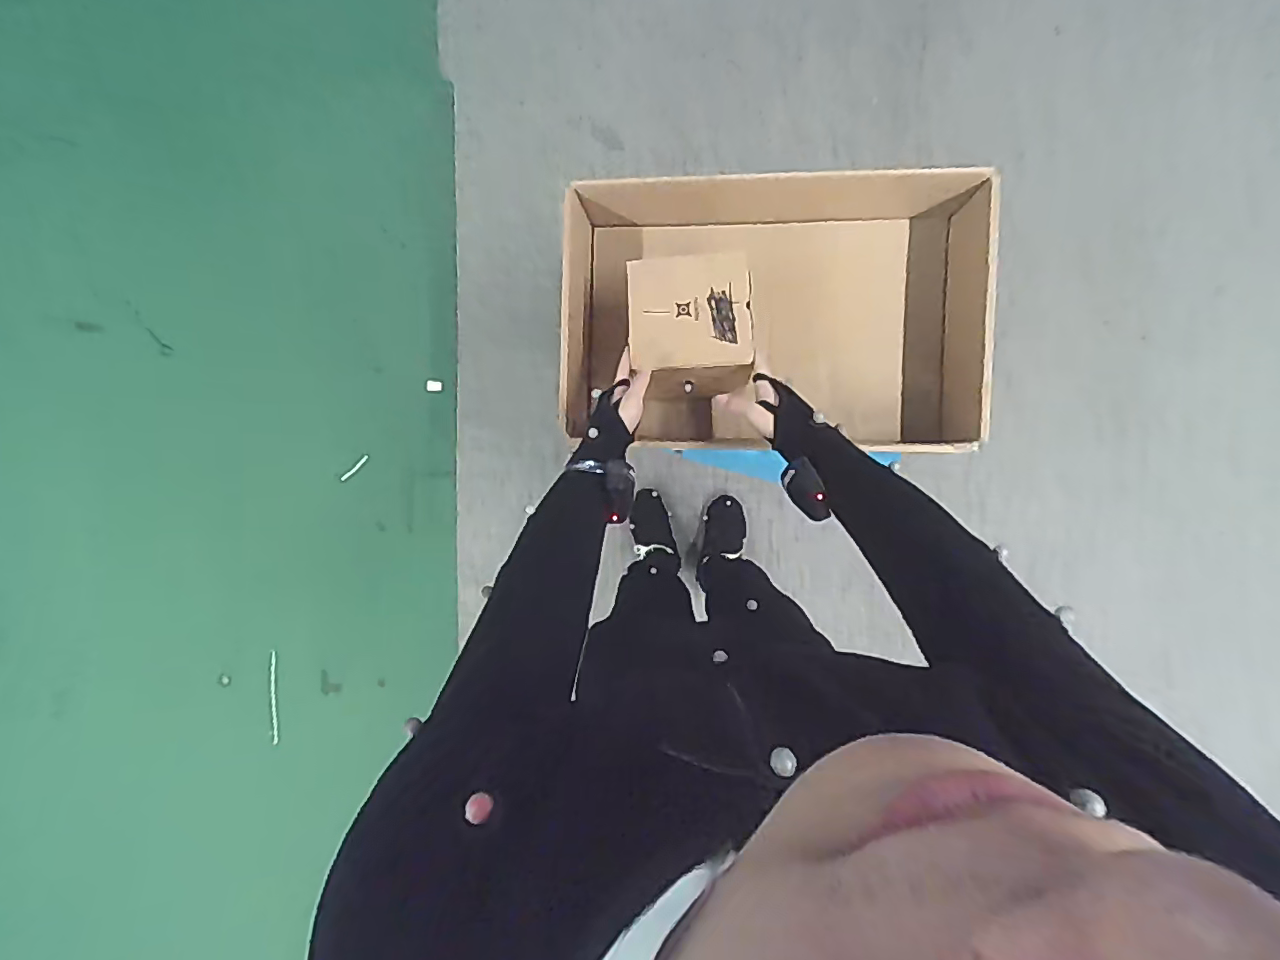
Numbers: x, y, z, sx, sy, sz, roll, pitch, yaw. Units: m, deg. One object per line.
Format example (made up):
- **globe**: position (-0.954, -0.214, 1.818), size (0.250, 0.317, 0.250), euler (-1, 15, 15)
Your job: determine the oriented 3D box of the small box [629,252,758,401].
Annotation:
- **small box**: position (0.081, -0.223, 0.824), size (0.179, 0.176, 0.168), euler (-2, 81, 7)
